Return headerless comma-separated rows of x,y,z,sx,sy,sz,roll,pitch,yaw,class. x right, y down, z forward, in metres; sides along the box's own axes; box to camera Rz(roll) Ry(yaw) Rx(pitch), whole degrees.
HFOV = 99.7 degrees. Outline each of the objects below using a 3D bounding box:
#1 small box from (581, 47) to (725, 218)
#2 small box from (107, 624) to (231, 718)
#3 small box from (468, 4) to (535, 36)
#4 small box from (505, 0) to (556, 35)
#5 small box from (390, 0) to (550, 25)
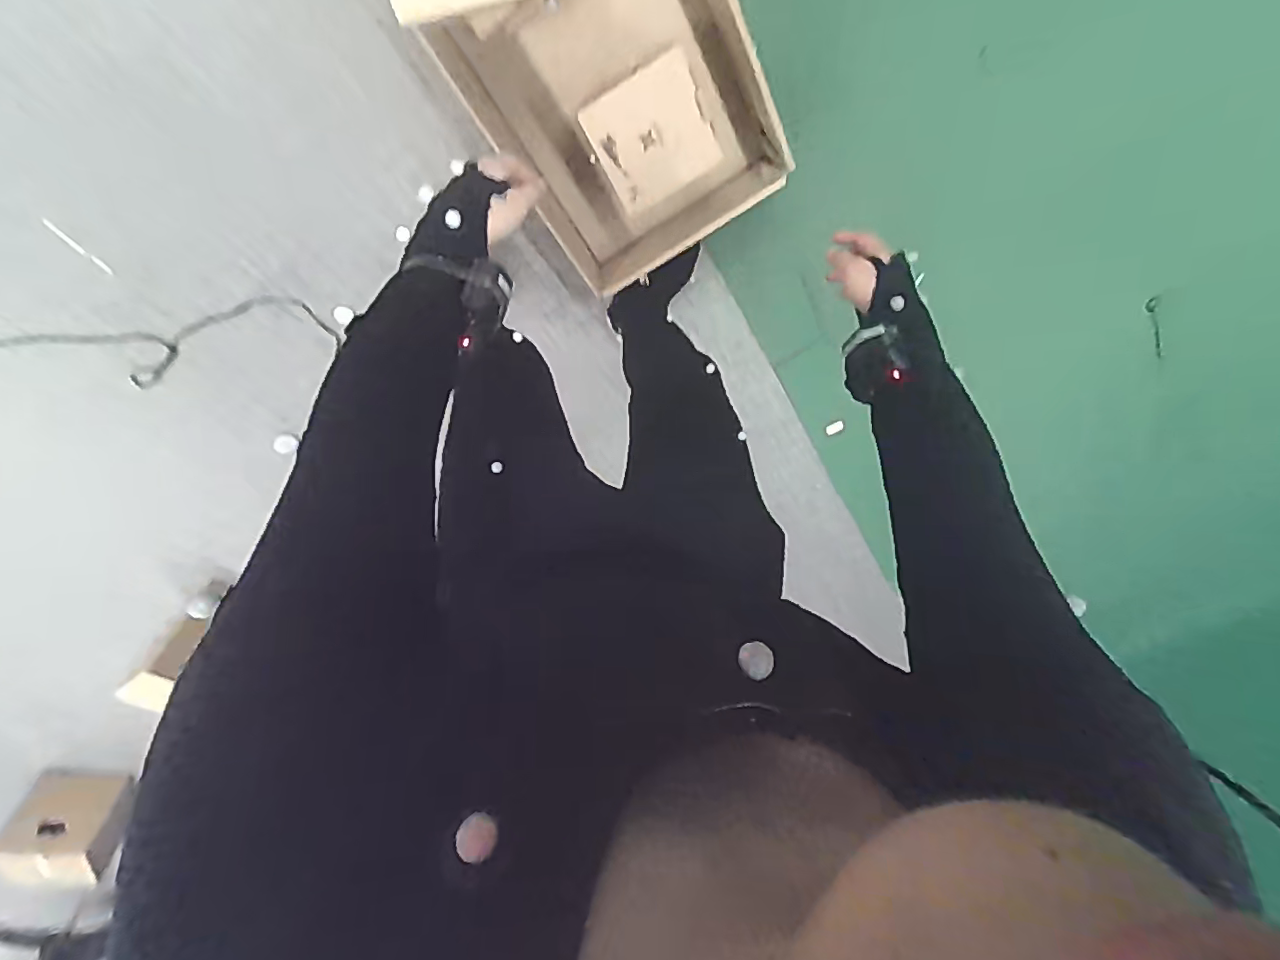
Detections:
0.015,-0.569,0.882,0.179,0.176,0.168,-24,128,14,small box
-1.311,0.535,1.522,0.168,0.176,0.179,-31,125,18,small box
-0.154,-0.631,0.591,0.179,0.176,0.168,-29,128,17,small box
-0.156,-0.738,0.715,0.179,0.176,0.168,-30,127,17,small box
-0.145,-0.520,0.472,0.179,0.176,0.168,-12,131,2,small box
